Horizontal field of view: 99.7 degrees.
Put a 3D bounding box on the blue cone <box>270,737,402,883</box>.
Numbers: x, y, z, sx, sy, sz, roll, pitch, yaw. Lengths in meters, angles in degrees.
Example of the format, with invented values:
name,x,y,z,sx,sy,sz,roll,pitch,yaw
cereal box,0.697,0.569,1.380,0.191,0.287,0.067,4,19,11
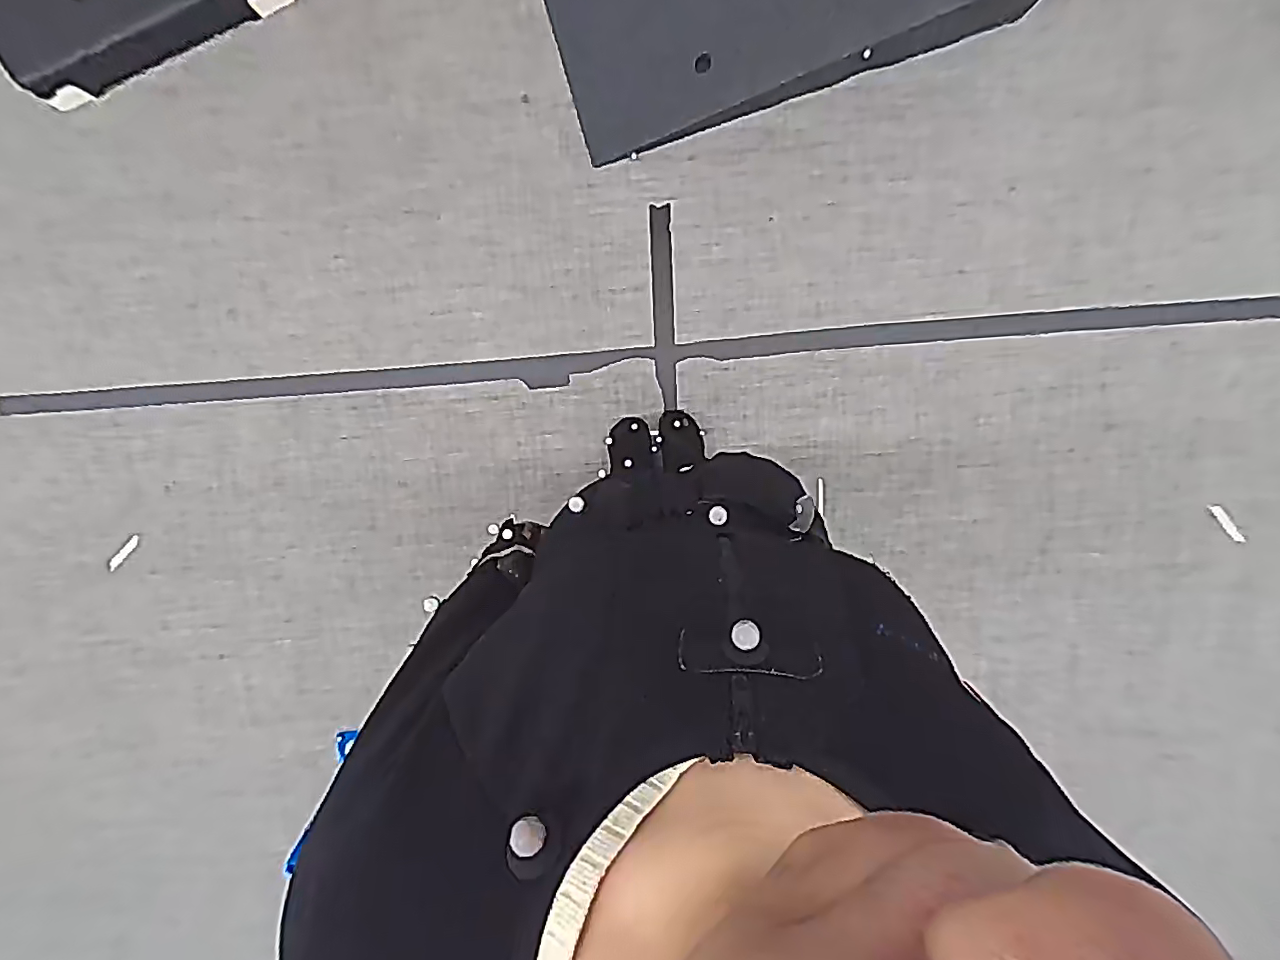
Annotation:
name,x,y,z,sx,sy,sz,roll,pitch,yaw
blue cone,-0.789,0.852,1.387,0.192,0.380,0.193,-2,100,4
